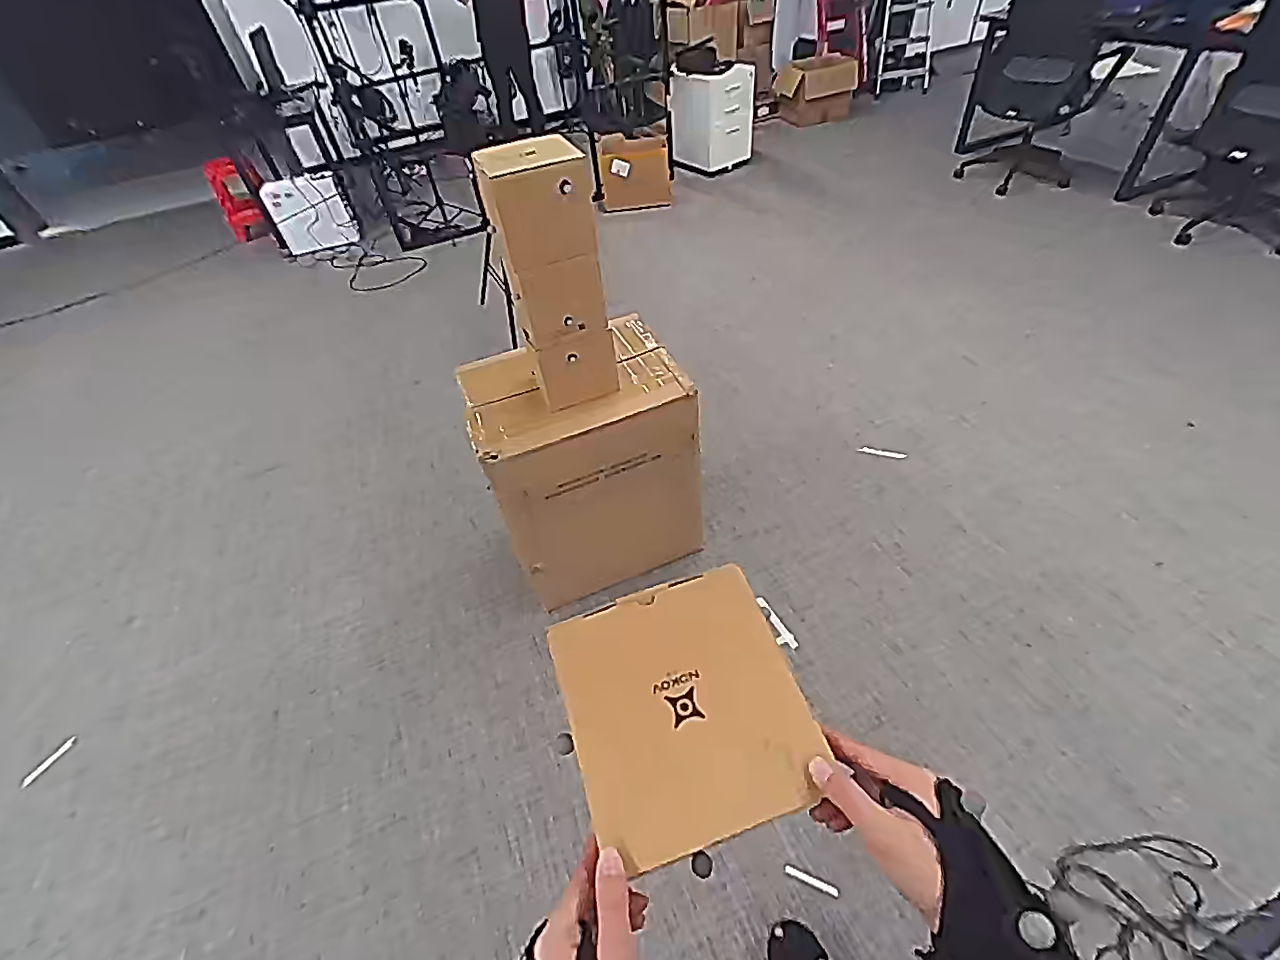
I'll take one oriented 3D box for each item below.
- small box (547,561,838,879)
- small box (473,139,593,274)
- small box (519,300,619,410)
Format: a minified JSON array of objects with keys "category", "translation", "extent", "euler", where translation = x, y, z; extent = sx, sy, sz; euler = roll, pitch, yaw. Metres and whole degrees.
[{"category":"small box","translation":[0.036,0.201,0.453],"extent":[0.168,0.176,0.179],"euler":[-18,54,-7]},{"category":"small box","translation":[-0.196,-0.521,1.031],"extent":[0.179,0.176,0.168],"euler":[-20,47,-12]},{"category":"small box","translation":[-0.163,-0.289,1.263],"extent":[0.179,0.176,0.168],"euler":[-20,47,-12]}]
